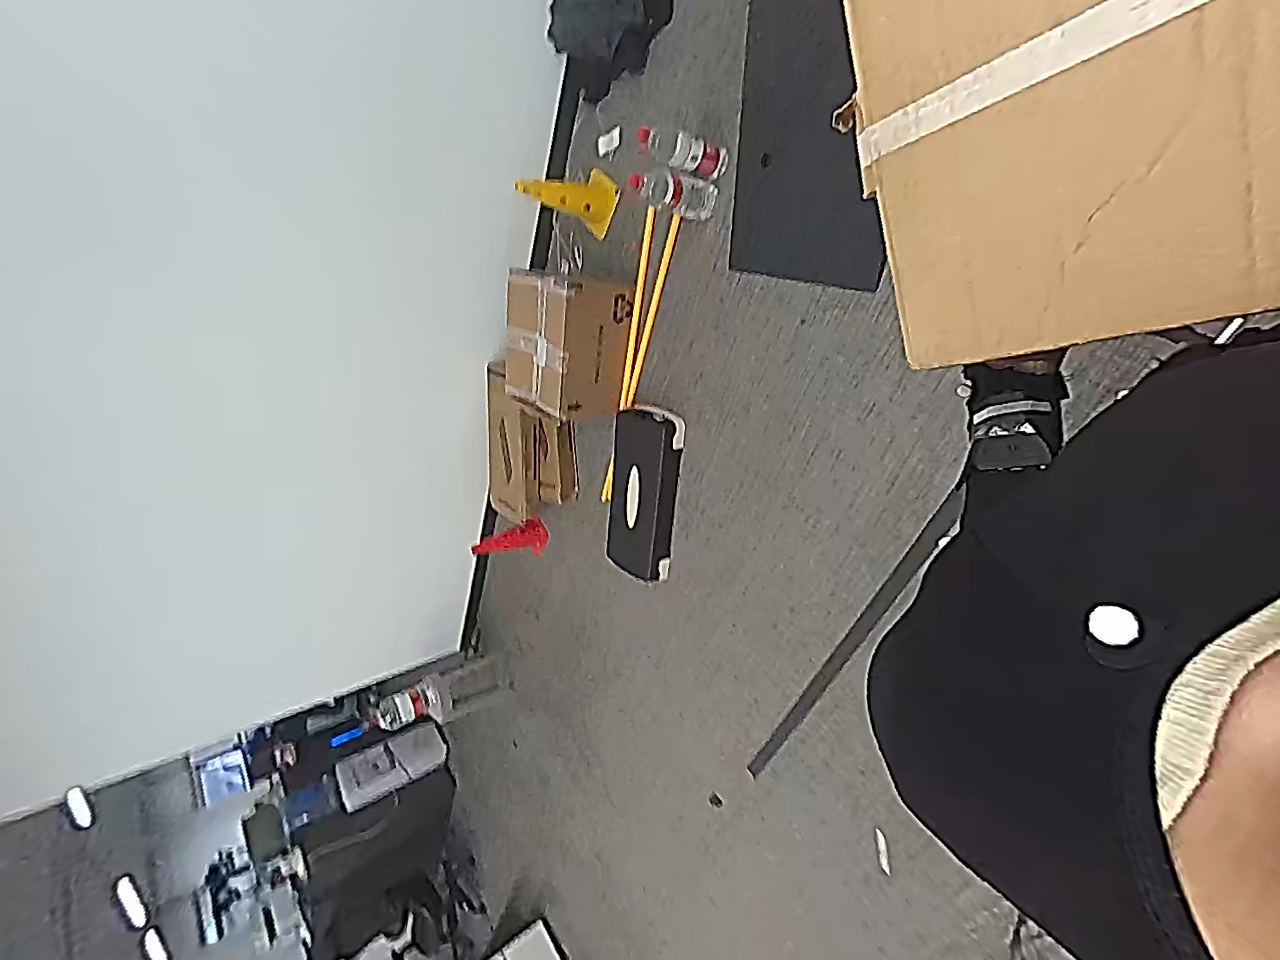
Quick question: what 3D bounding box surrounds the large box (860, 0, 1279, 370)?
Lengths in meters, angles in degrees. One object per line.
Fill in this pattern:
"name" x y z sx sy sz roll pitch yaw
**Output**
"large box" 0.399 -0.277 0.315 0.408 0.320 0.320 -3 107 47
